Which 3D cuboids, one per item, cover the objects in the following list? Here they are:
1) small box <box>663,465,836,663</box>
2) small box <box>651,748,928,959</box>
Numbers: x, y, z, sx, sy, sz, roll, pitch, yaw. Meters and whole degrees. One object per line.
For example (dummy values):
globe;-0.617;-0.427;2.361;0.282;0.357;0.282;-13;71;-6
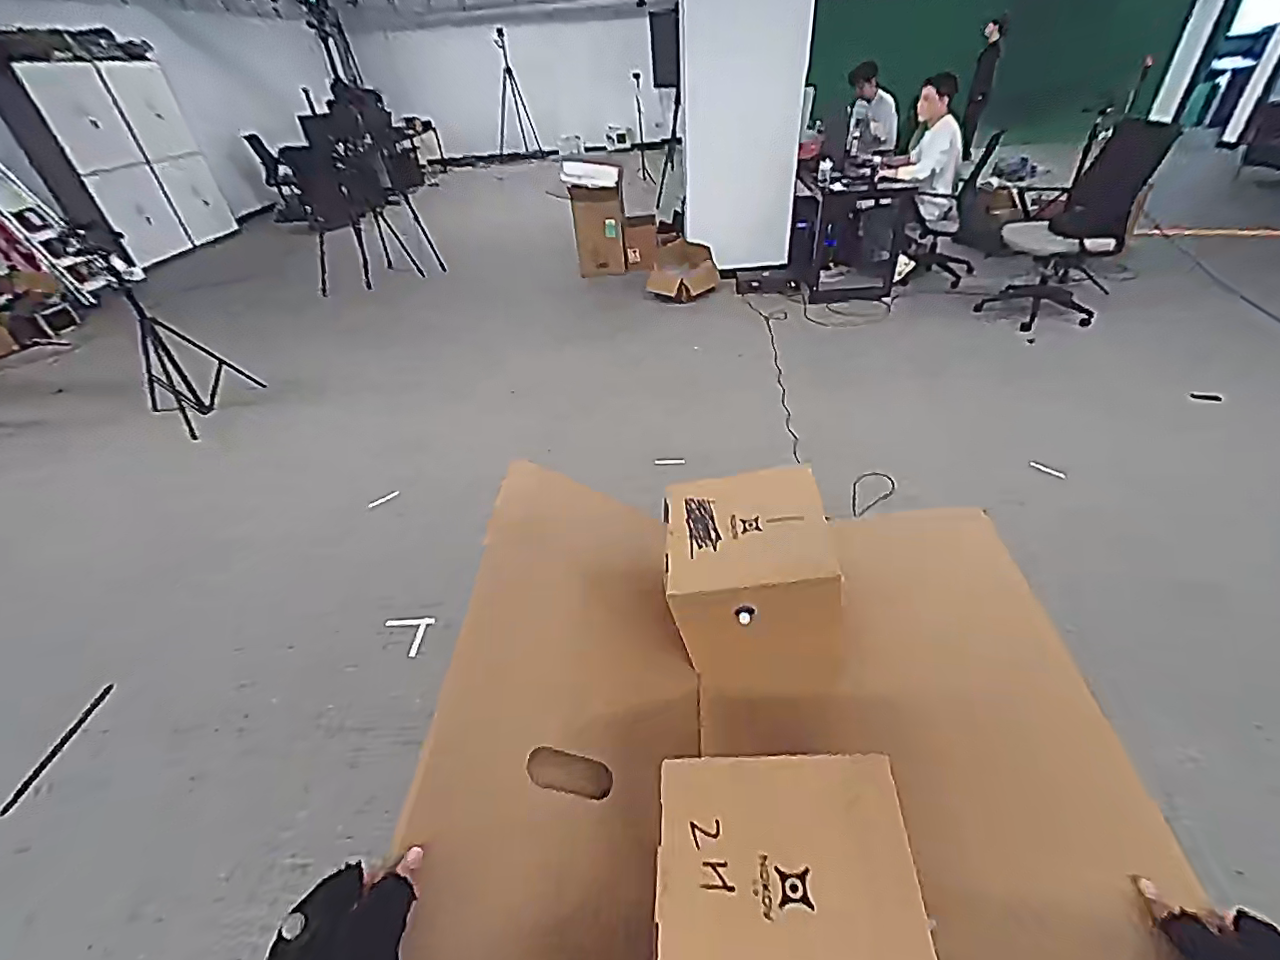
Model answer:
small box;0.133;0.108;0.660;0.179;0.176;0.168;-9;43;12
small box;0.116;0.330;0.431;0.179;0.176;0.168;-8;43;14
